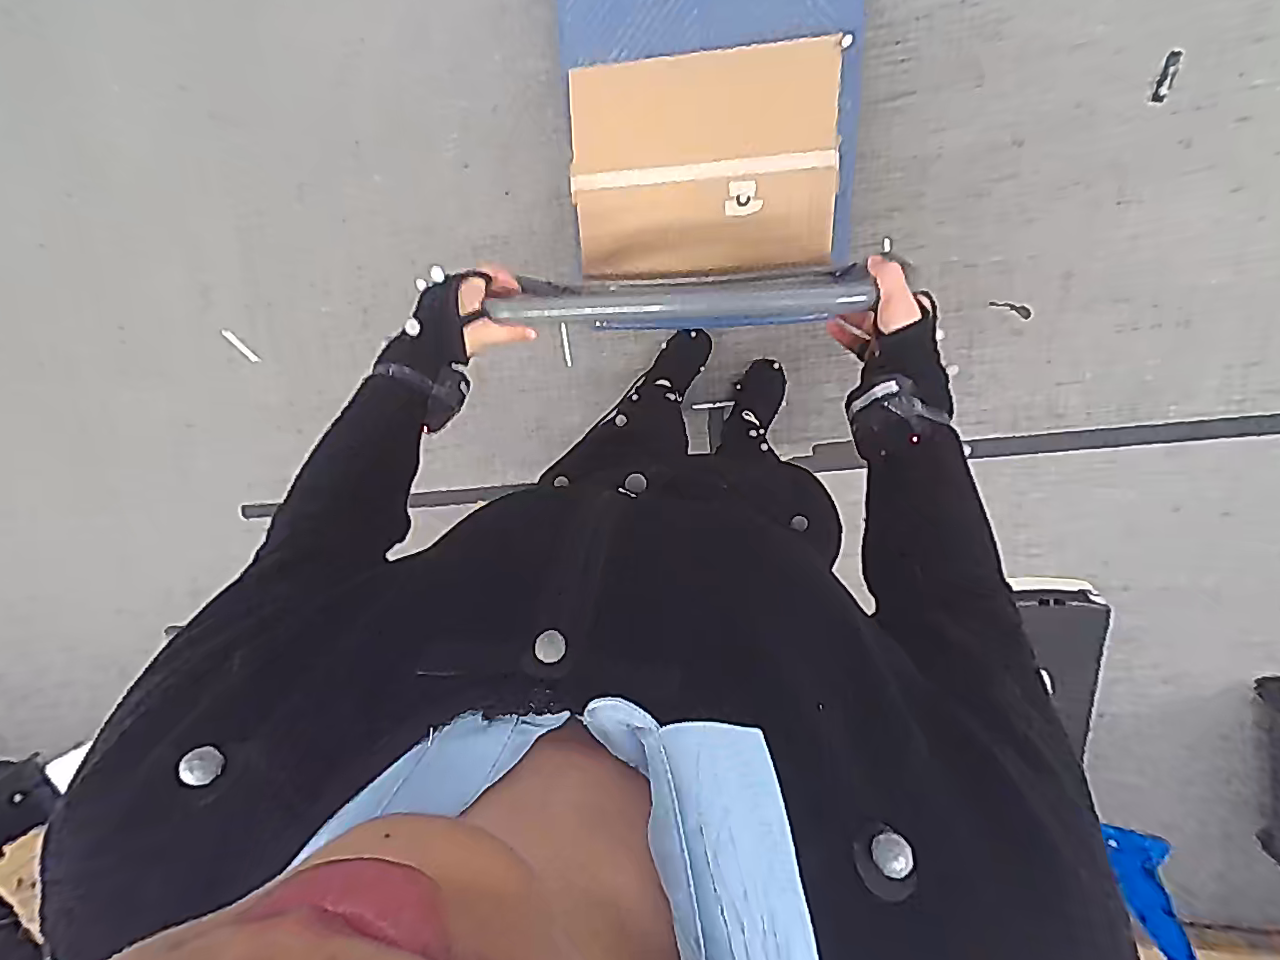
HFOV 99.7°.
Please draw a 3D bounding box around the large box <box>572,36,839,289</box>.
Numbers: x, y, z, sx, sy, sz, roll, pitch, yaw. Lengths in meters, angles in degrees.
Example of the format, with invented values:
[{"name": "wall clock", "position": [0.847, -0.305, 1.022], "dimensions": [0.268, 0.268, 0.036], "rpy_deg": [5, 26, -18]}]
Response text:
[{"name": "large box", "position": [0.121, -0.531, 0.989], "dimensions": [0.408, 0.320, 0.320], "rpy_deg": [0, 108, 10]}]
